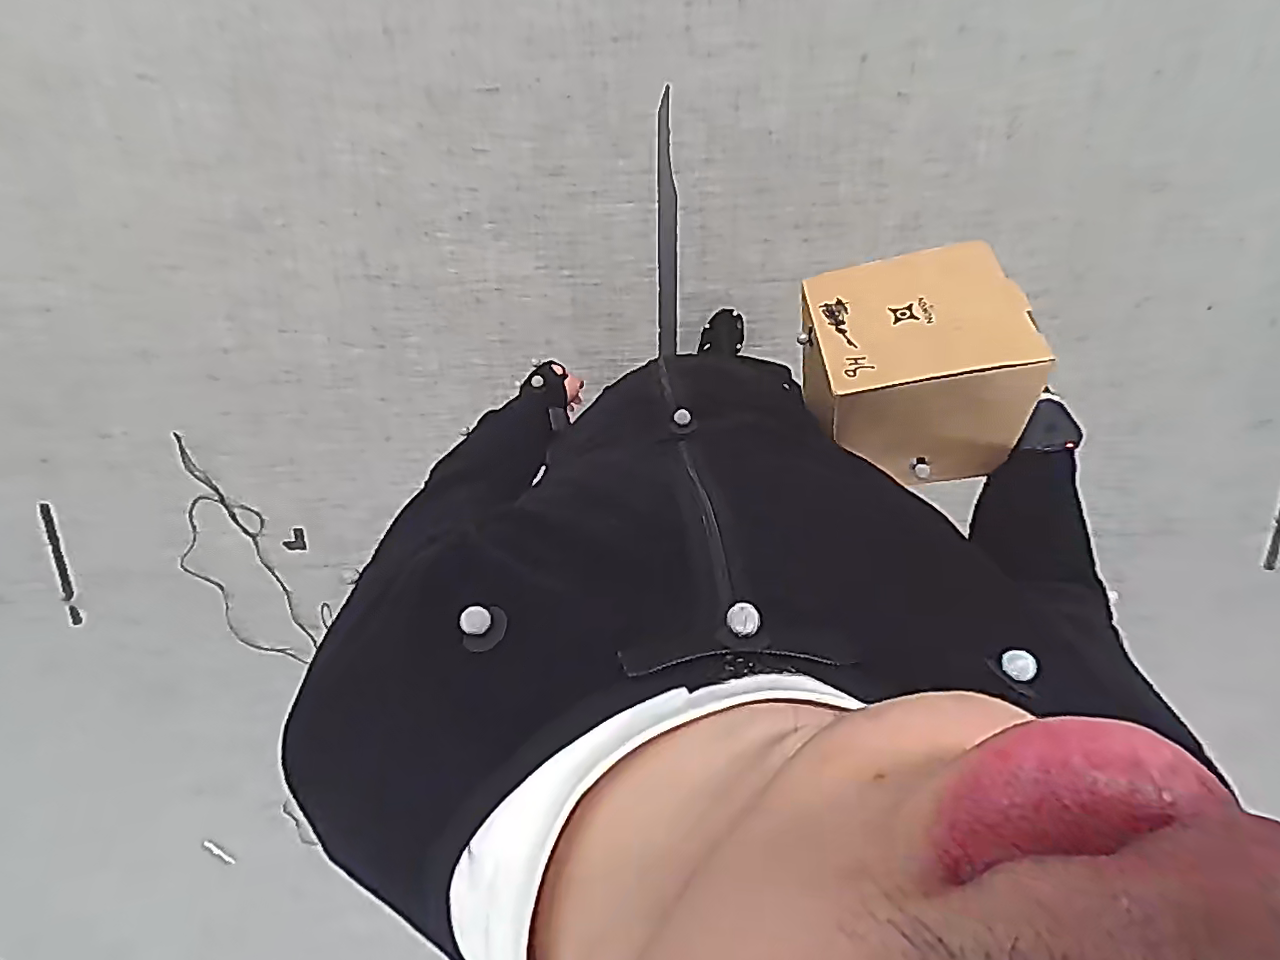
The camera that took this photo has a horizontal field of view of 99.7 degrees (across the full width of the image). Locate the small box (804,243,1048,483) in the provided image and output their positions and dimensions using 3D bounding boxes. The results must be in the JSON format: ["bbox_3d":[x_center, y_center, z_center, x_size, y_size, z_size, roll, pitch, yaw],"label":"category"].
[{"bbox_3d":[0.277,-0.115,0.576,0.179,0.168,0.176,-8,144,11],"label":"small box"}]
